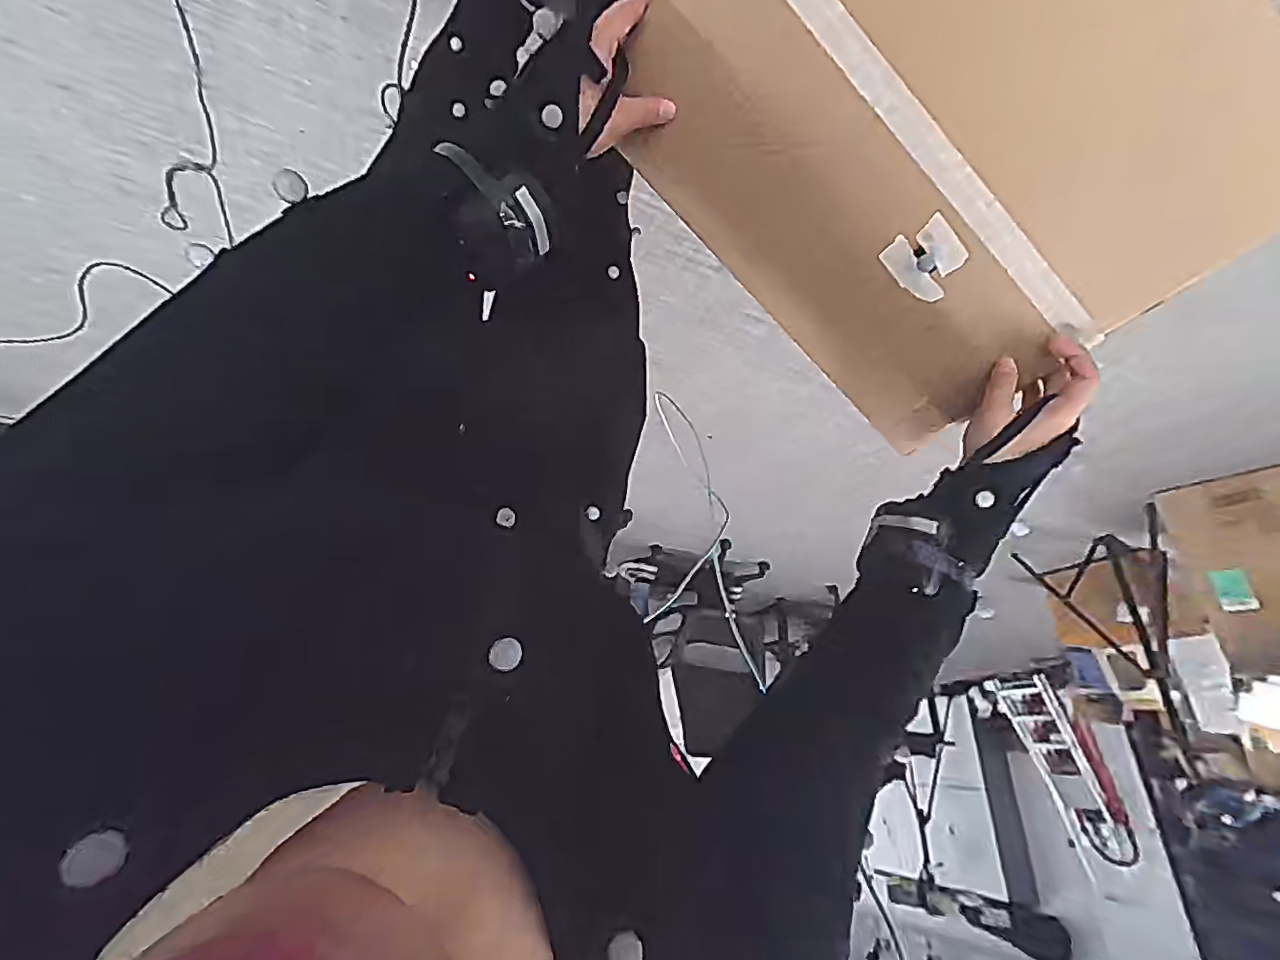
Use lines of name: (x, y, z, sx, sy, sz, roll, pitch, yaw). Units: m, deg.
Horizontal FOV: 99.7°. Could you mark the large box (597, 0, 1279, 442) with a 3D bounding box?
large box: (0.240, -0.322, 0.506, 0.408, 0.320, 0.320, 41, 127, -12)
